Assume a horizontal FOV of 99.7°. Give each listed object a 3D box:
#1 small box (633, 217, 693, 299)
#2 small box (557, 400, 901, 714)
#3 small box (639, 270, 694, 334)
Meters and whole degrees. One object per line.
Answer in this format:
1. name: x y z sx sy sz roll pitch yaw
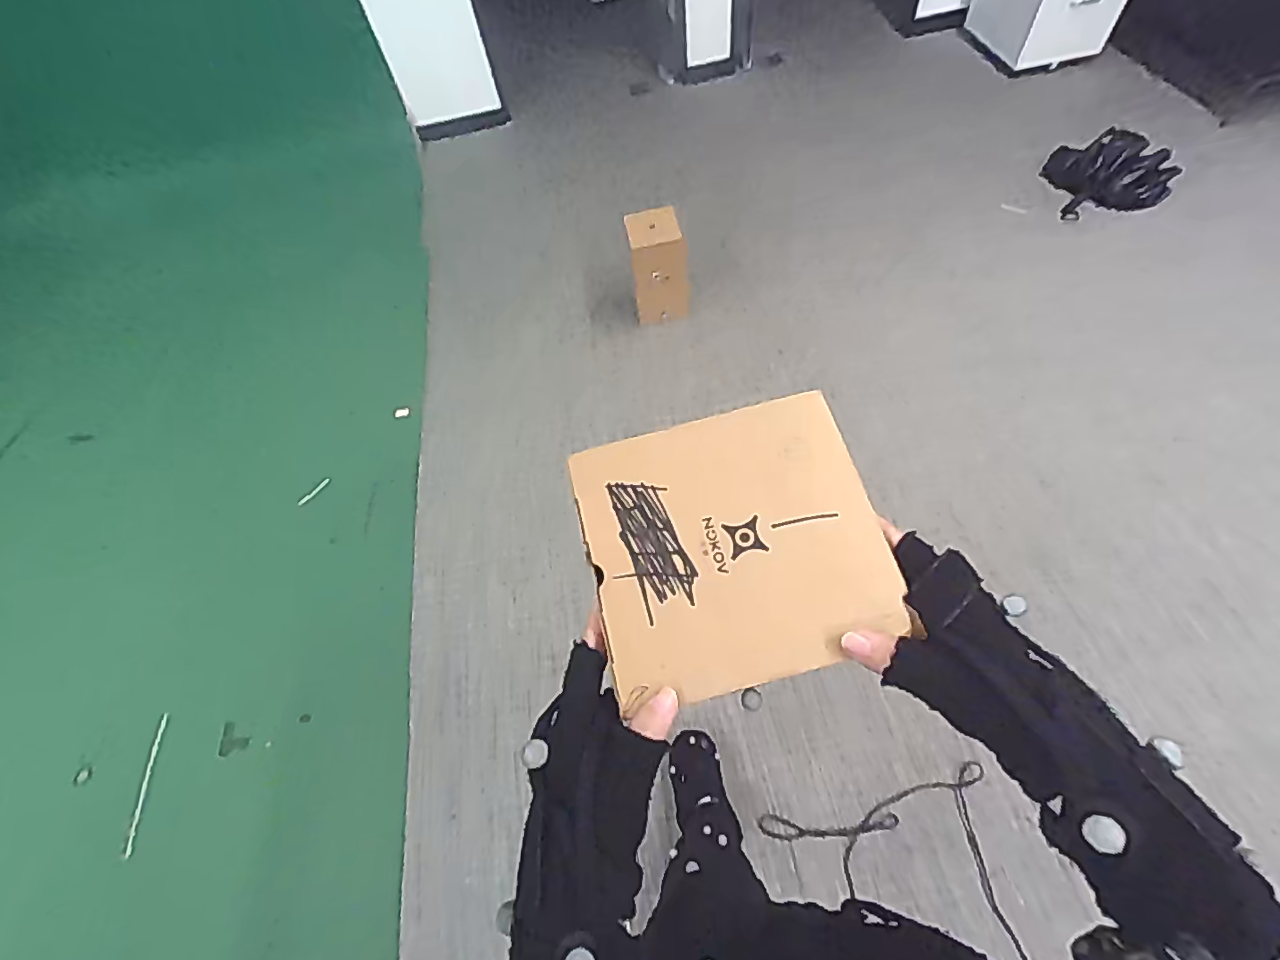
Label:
1. small box: 0.078 -0.736 1.801 0.168 0.176 0.179 -12 59 3
2. small box: 0.053 0.069 0.402 0.179 0.176 0.168 -14 68 0
3. small box: 0.098 -0.649 1.938 0.179 0.176 0.168 -10 57 2
